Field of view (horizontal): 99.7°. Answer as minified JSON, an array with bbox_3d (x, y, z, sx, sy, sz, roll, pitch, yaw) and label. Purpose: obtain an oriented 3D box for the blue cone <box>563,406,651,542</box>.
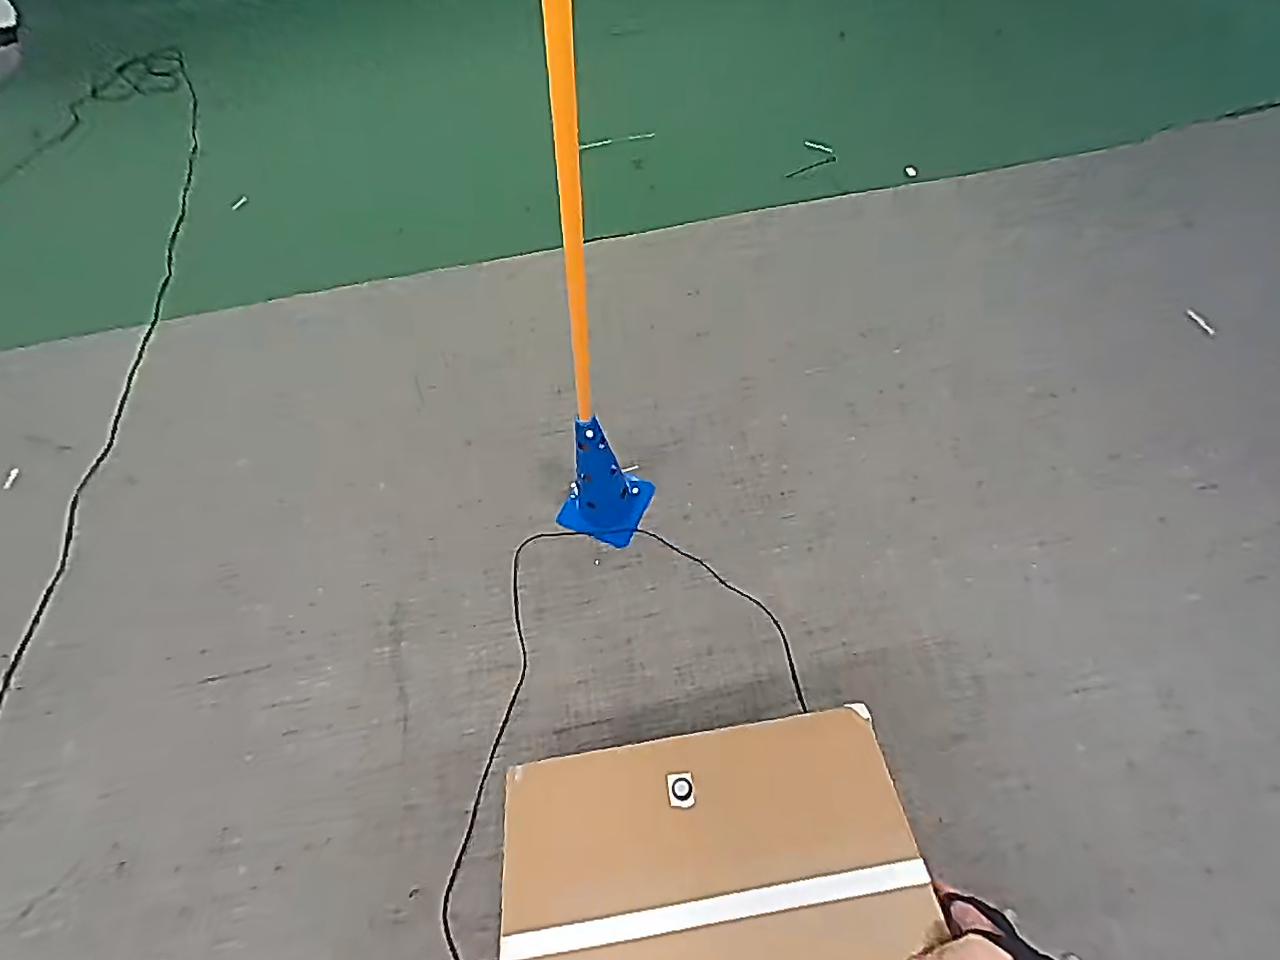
[{"bbox_3d":[-0.092,-0.033,1.217,0.192,0.380,0.193,18,60,14],"label":"blue cone"}]
